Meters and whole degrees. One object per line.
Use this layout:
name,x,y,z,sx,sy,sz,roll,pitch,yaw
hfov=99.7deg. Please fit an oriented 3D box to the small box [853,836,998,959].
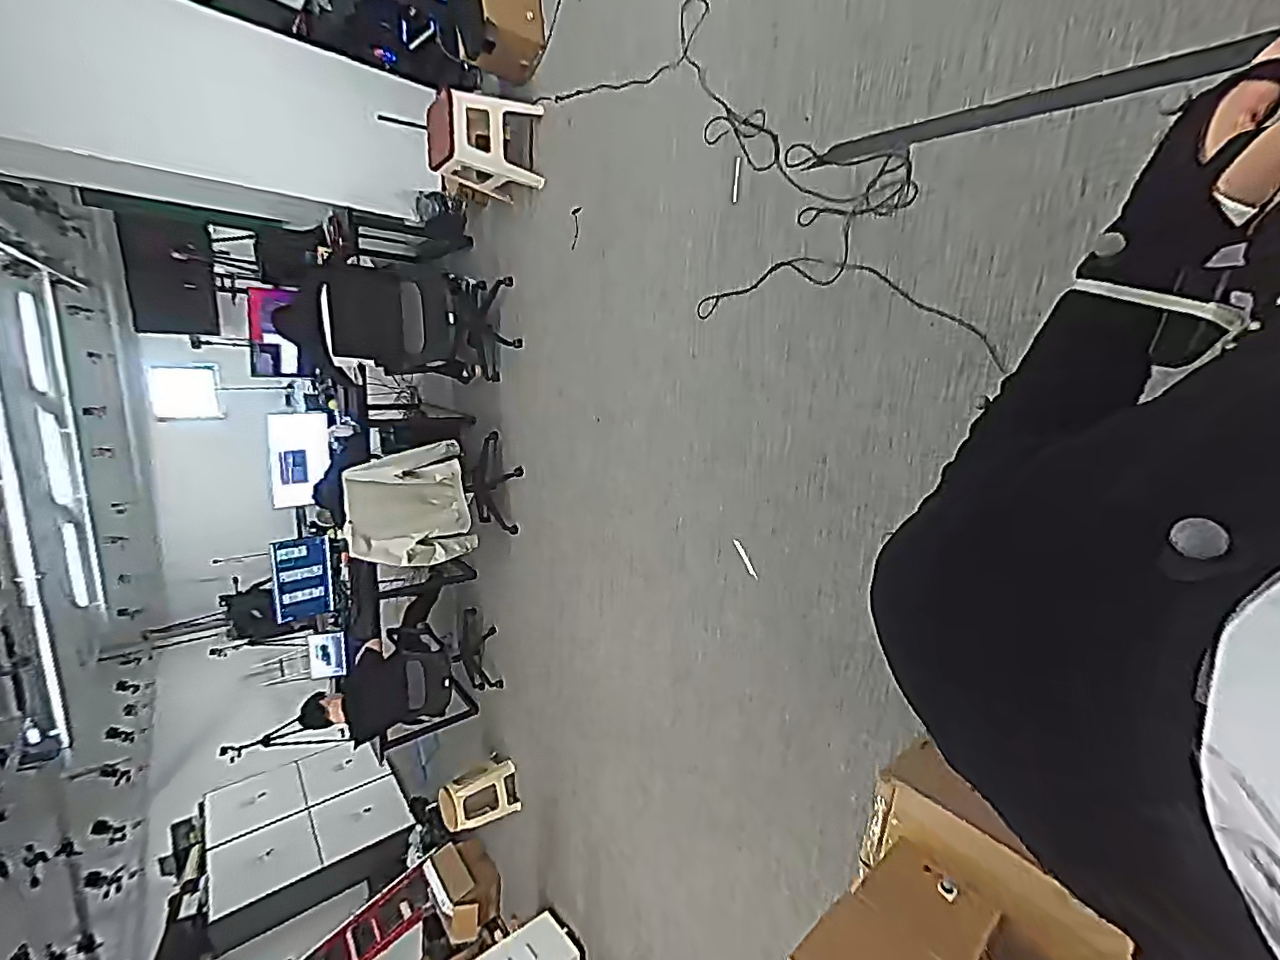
small box,0.449,0.736,0.872,0.168,0.176,0.179,18,108,46

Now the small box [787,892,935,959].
small box,0.321,0.751,0.769,0.179,0.176,0.168,19,110,47
